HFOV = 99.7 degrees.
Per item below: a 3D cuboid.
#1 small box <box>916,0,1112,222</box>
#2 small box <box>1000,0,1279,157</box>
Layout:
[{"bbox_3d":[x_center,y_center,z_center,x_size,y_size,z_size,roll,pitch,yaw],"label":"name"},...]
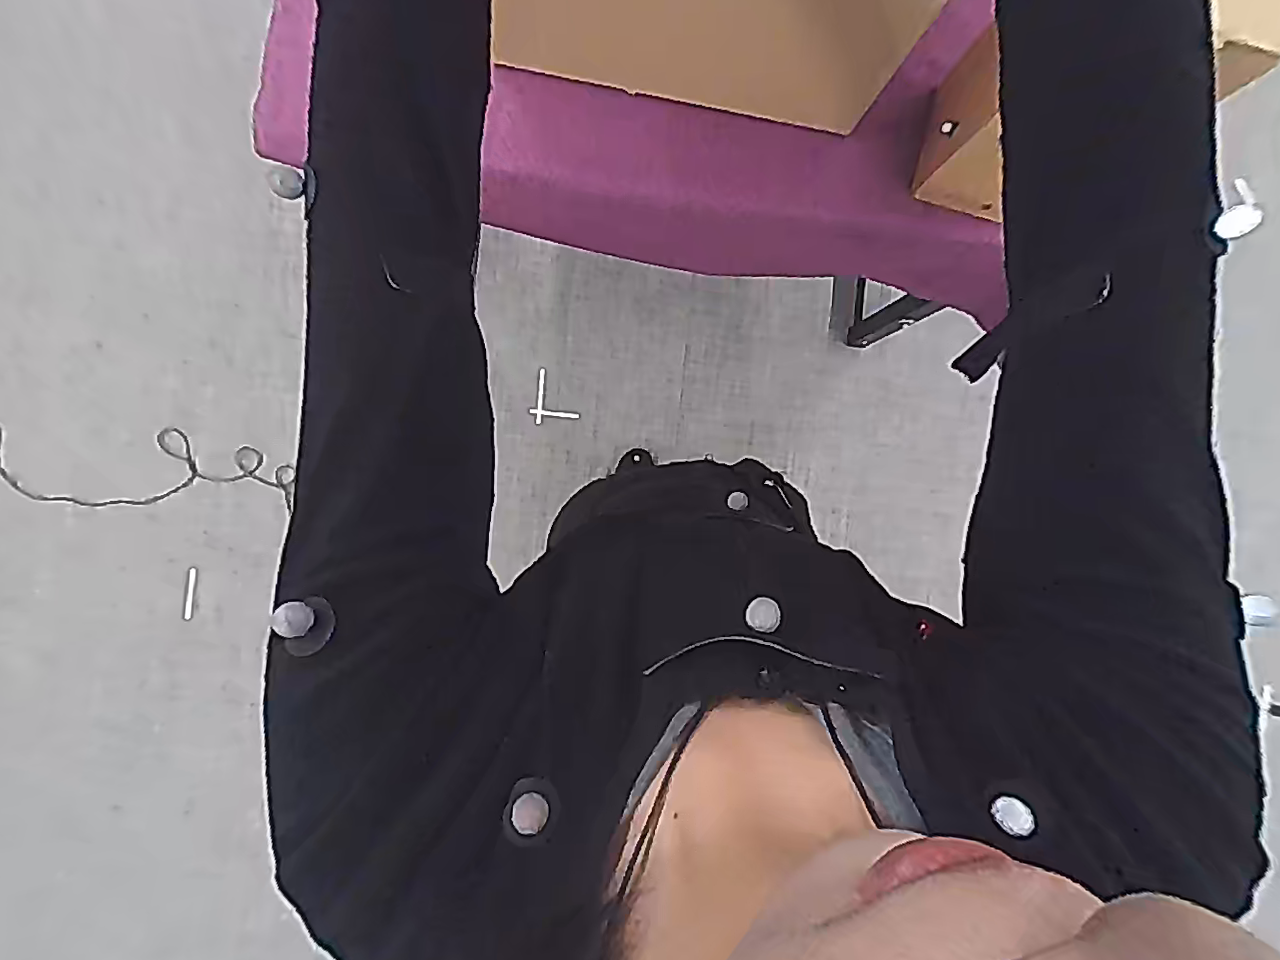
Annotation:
[{"bbox_3d":[0.503,-0.482,0.726,0.168,0.176,0.179,14,88,-4],"label":"small box"},{"bbox_3d":[0.521,-0.481,0.562,0.168,0.176,0.179,18,90,-4],"label":"small box"}]
